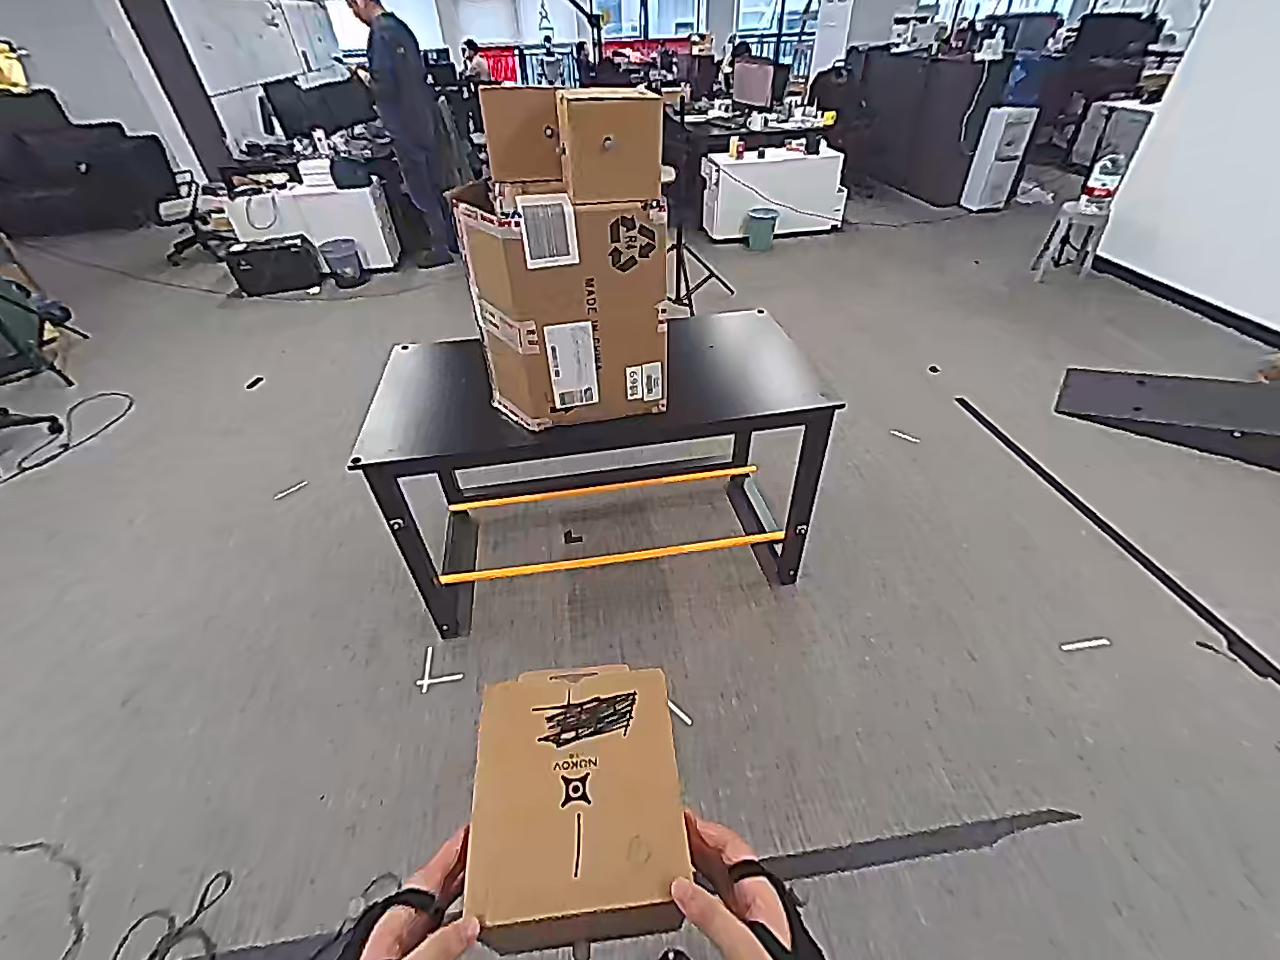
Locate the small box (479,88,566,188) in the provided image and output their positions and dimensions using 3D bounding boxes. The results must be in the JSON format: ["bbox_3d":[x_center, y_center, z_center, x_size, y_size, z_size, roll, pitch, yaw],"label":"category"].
[{"bbox_3d":[-0.249,-0.756,1.192,0.179,0.176,0.168,-9,38,-9],"label":"small box"}]

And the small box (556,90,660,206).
[{"bbox_3d":[-0.061,-0.649,1.060,0.179,0.176,0.168,-9,43,-9],"label":"small box"}]

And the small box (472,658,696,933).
[{"bbox_3d":[-0.049,0.292,0.506,0.168,0.176,0.179,-4,45,-5],"label":"small box"}]
